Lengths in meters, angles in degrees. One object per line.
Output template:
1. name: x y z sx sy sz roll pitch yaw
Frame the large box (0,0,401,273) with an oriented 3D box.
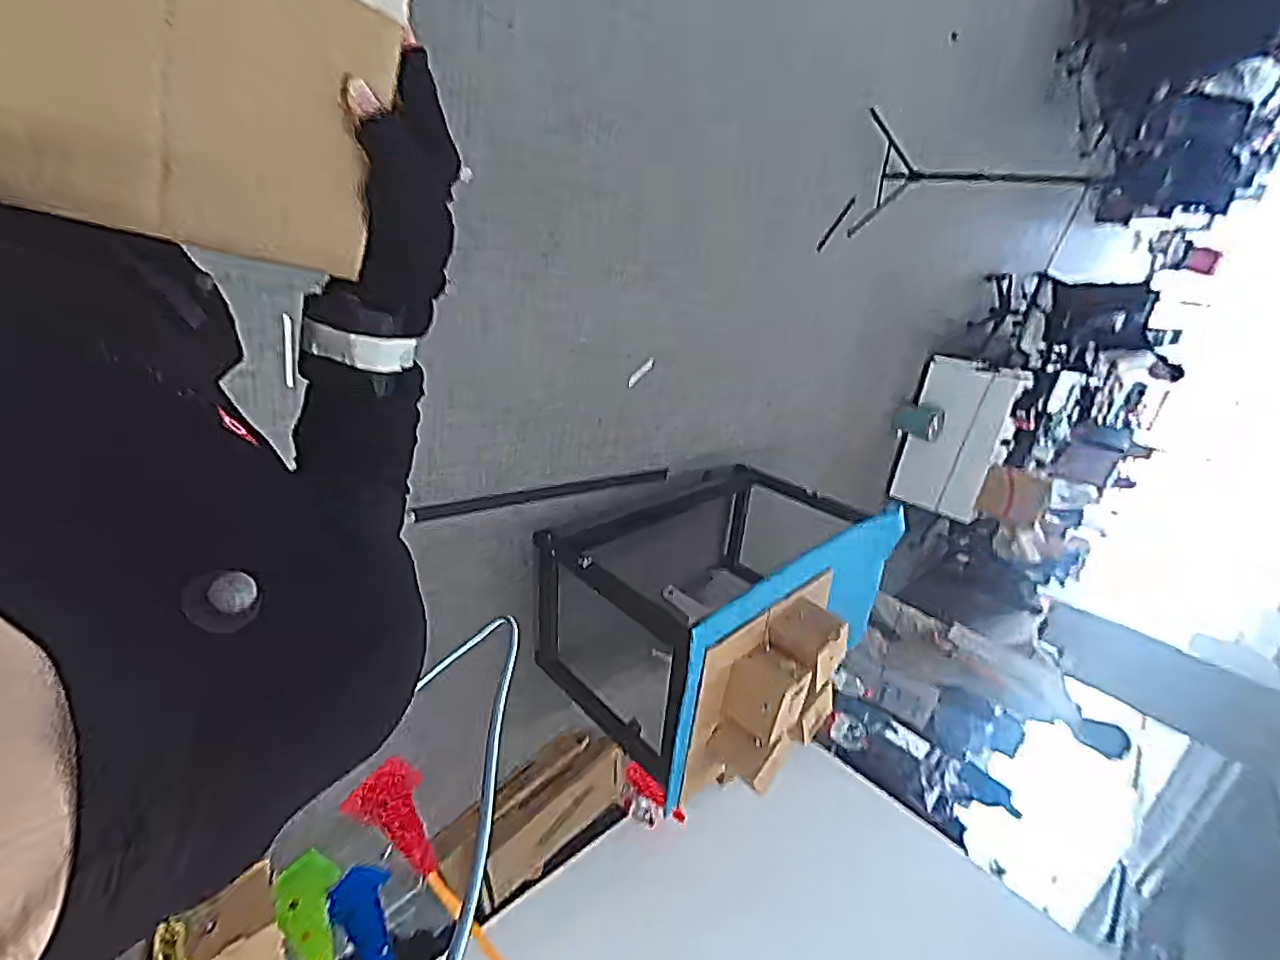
1. large box: -0.370 -0.338 0.253 0.408 0.320 0.320 -3 125 -46
